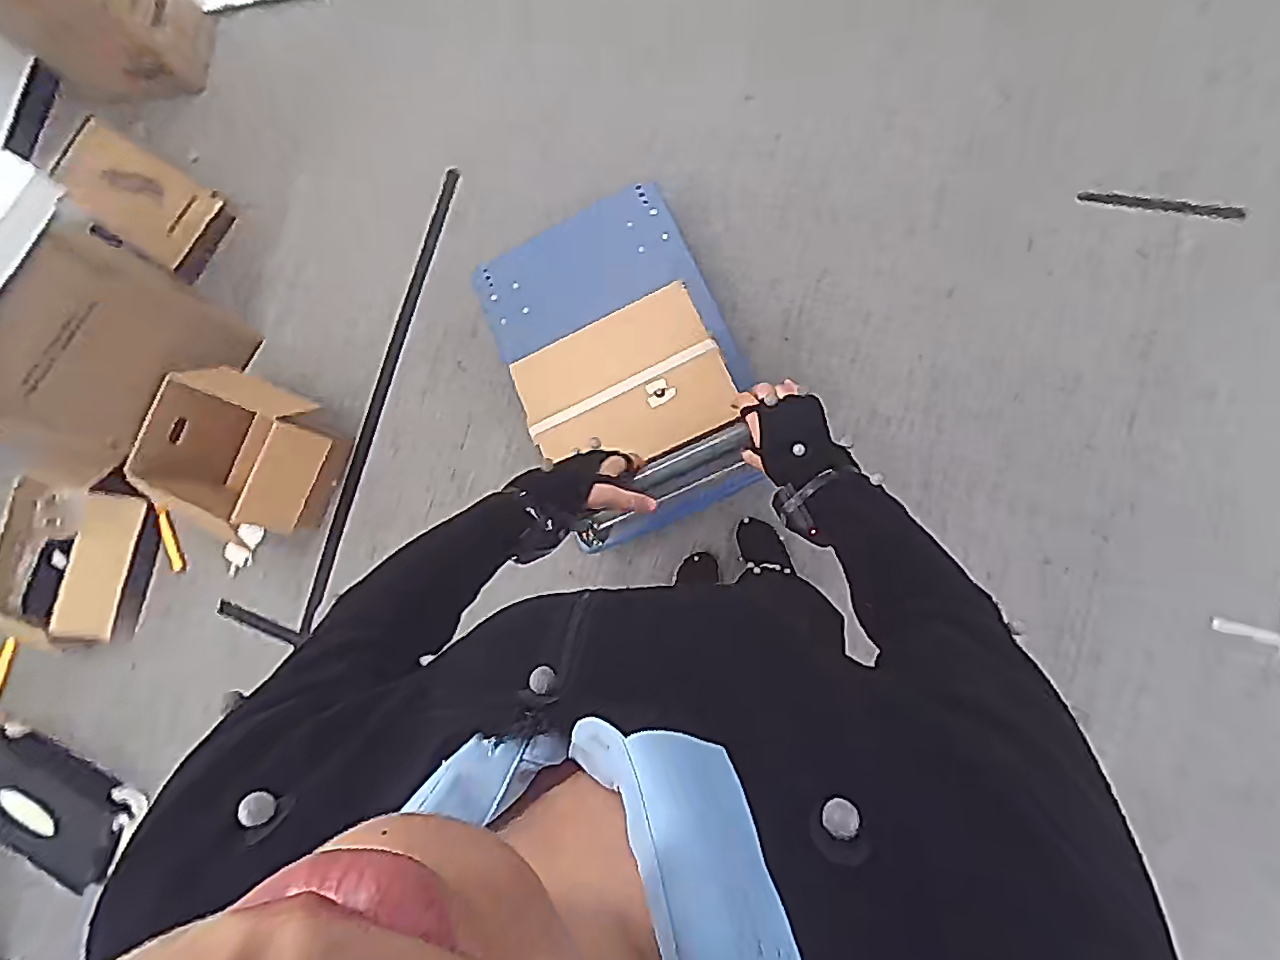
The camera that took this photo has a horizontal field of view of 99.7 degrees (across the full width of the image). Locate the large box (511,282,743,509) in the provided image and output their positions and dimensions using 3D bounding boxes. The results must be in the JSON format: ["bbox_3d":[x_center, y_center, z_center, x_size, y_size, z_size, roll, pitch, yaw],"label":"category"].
[{"bbox_3d":[-0.013,-0.163,1.233,0.408,0.320,0.320,-25,80,6],"label":"large box"}]
